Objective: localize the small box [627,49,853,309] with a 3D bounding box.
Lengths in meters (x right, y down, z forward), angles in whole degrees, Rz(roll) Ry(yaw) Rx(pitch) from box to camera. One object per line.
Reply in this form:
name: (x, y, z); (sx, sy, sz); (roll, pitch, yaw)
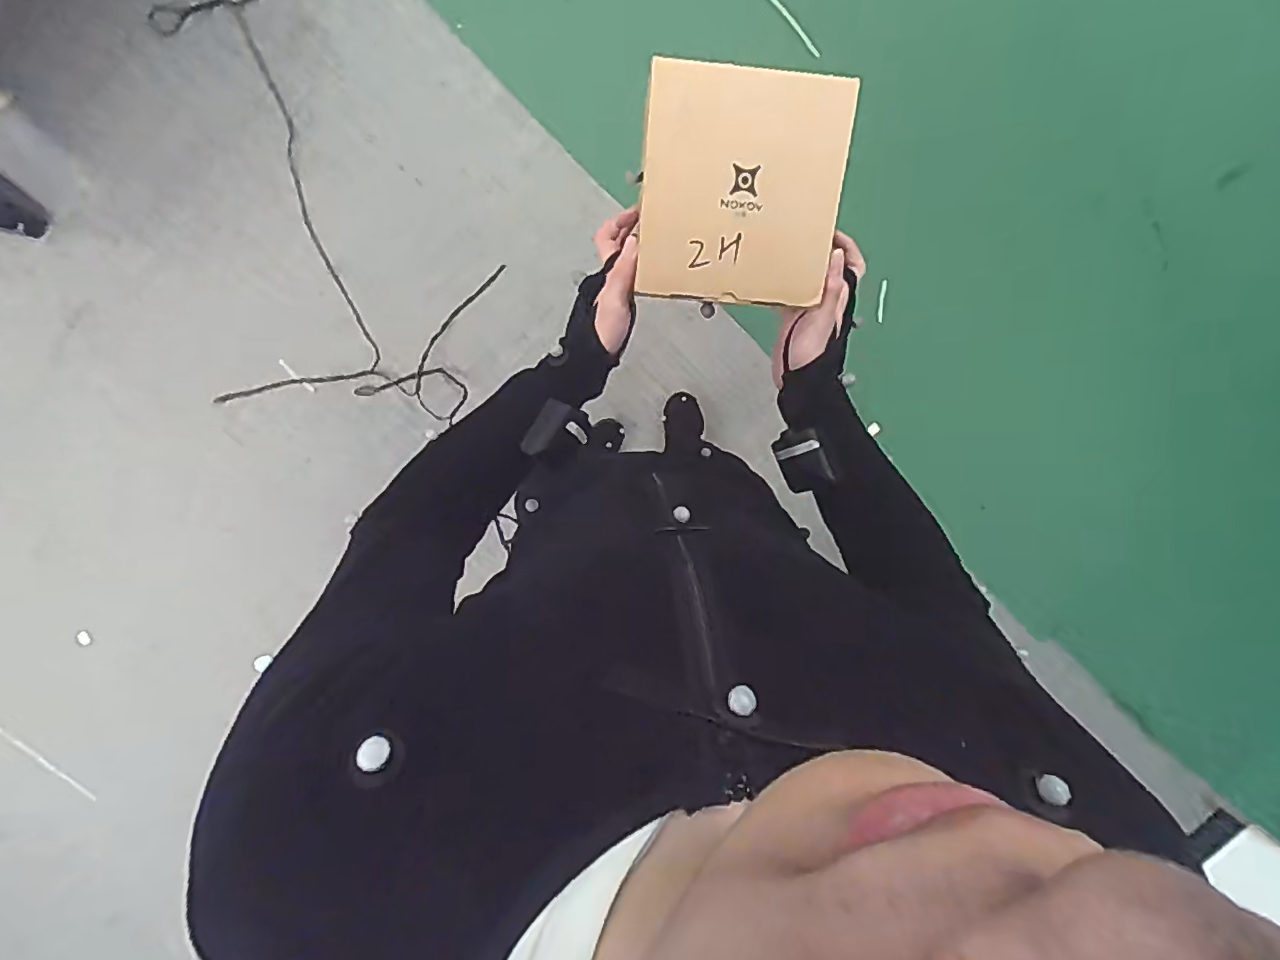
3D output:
small box: (0.075, -0.260, 0.511); (0.168, 0.176, 0.179); (4, 108, -2)
